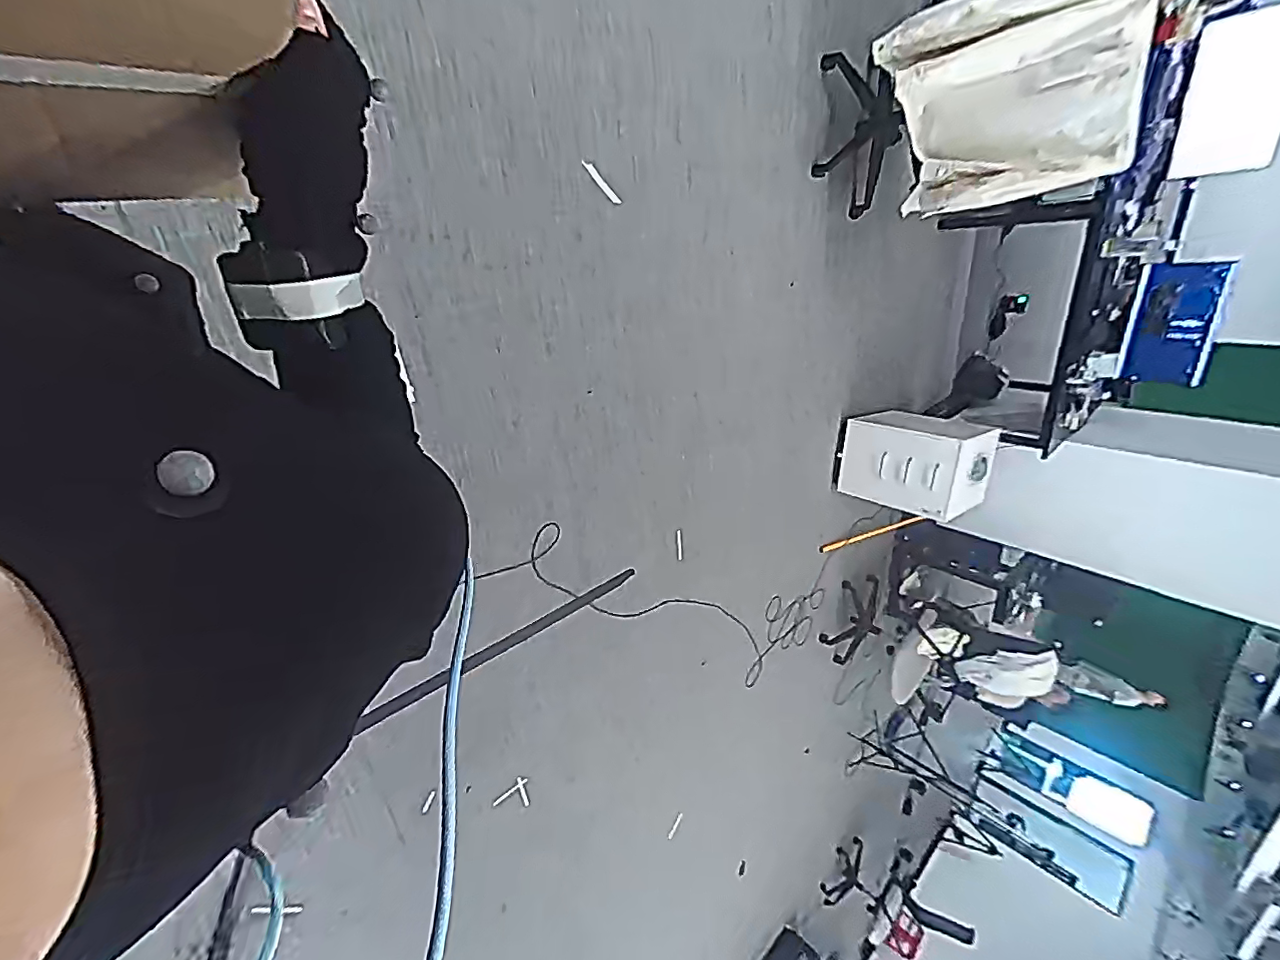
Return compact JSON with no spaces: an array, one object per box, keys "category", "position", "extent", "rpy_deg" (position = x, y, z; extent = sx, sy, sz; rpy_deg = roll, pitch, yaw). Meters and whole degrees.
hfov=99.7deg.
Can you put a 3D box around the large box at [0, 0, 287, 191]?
[{"category":"large box","position":[-0.389,-0.300,0.151],"extent":[0.408,0.320,0.320],"rpy_deg":[-25,107,-36]}]
